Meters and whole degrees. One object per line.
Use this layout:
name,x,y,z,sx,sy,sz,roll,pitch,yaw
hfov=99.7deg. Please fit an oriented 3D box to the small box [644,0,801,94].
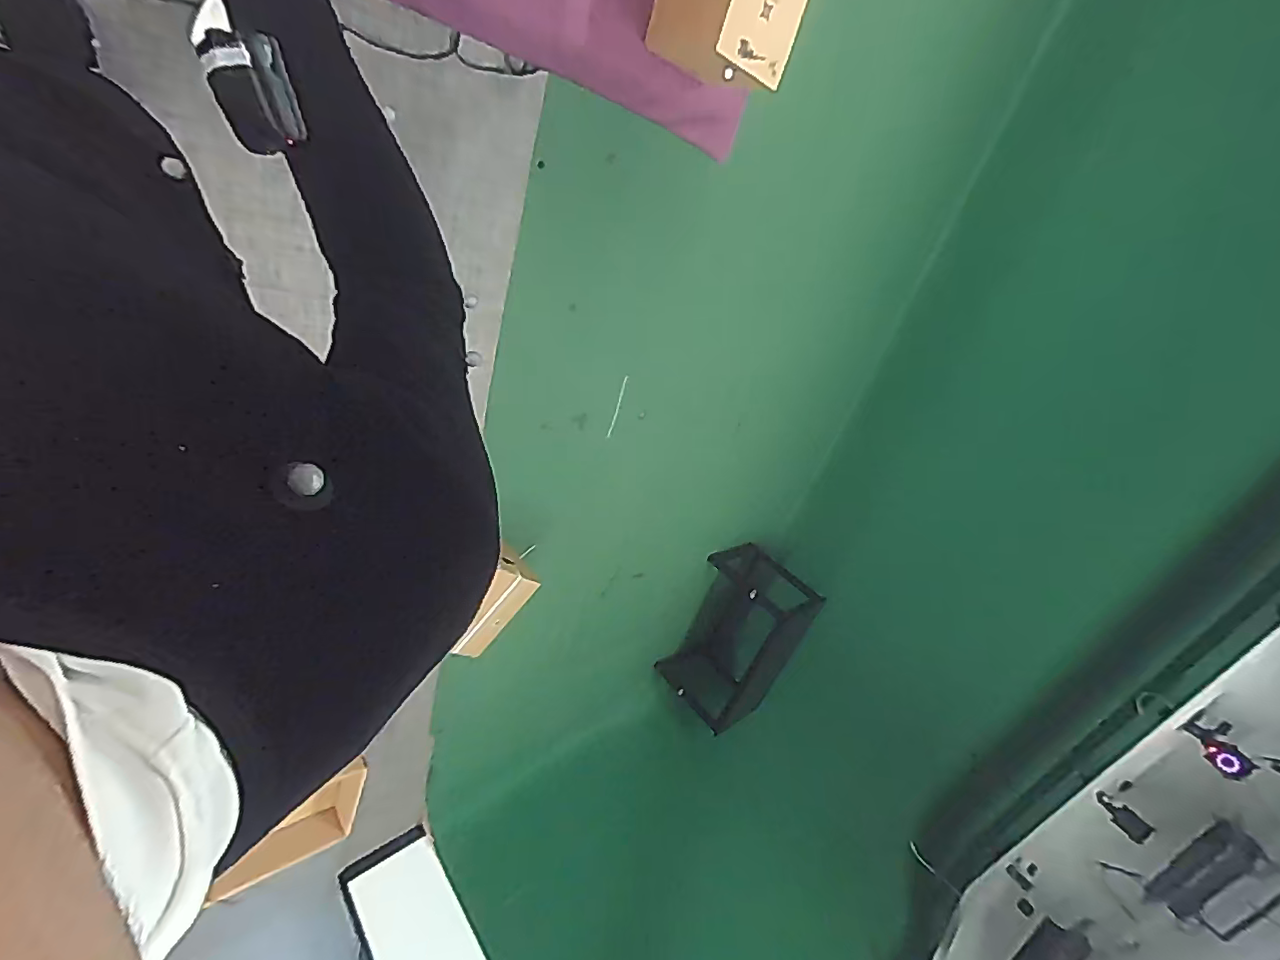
small box,0.131,-0.755,0.864,0.168,0.176,0.179,-9,126,-44
